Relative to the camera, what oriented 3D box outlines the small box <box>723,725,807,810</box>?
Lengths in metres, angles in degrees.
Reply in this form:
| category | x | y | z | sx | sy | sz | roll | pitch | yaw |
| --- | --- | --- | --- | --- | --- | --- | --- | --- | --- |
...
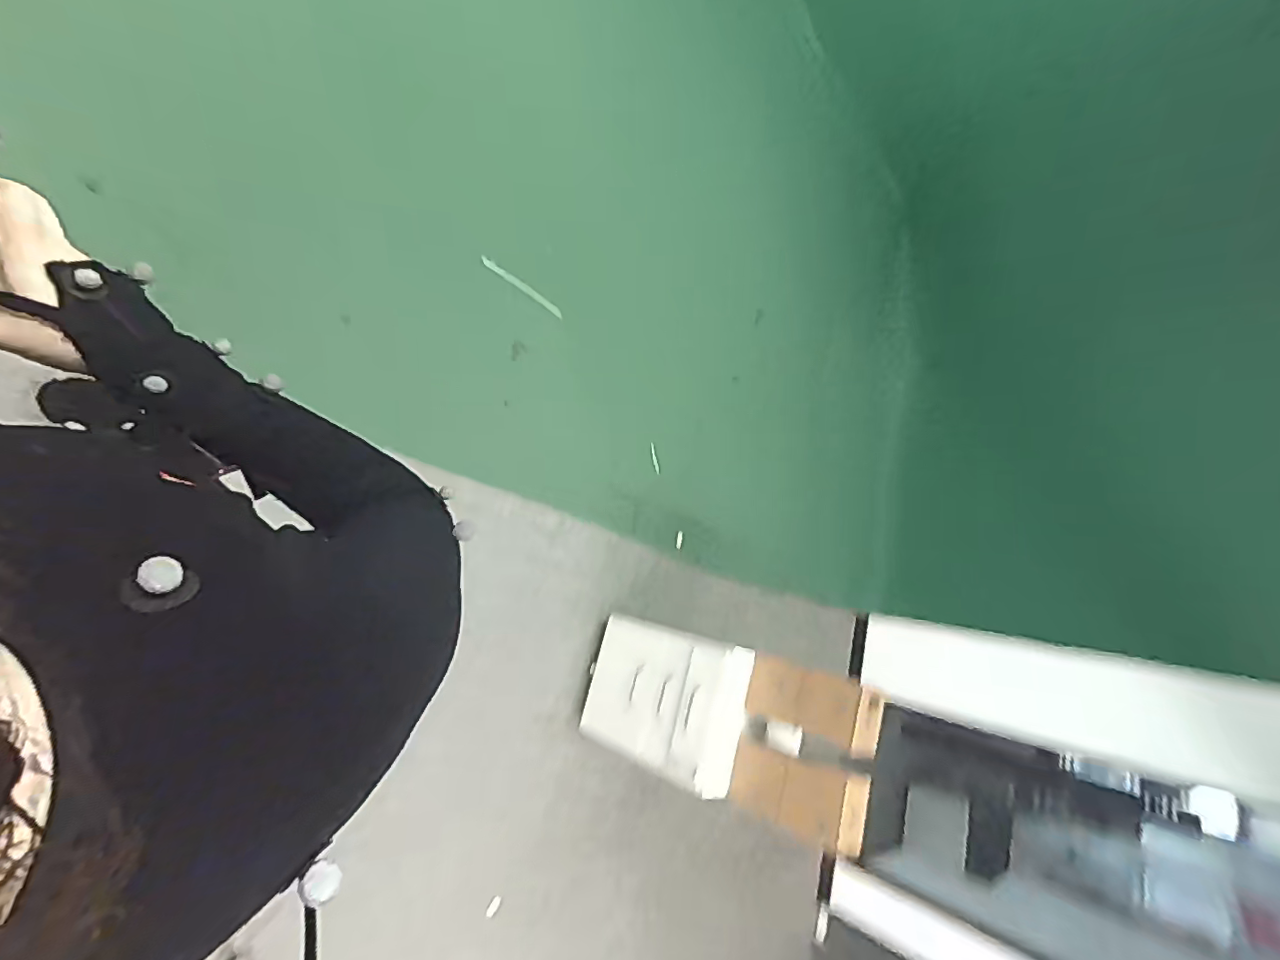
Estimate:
| category | x | y | z | sx | sy | sz | roll | pitch | yaw |
| --- | --- | --- | --- | --- | --- | --- | --- | --- | --- |
| small box | 0.367 | 0.844 | 1.597 | 0.168 | 0.176 | 0.179 | 28 | 70 | -43 |

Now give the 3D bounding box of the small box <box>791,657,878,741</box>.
| category | x | y | z | sx | sy | sz | roll | pitch | yaw |
| --- | --- | --- | --- | --- | --- | --- | --- | --- | --- |
| small box | 0.549 | 0.619 | 1.537 | 0.168 | 0.176 | 0.179 | 28 | 74 | -42 |

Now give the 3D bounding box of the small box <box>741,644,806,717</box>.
| category | x | y | z | sx | sy | sz | roll | pitch | yaw |
| --- | --- | --- | --- | --- | --- | --- | --- | --- | --- |
| small box | 0.431 | 0.613 | 1.651 | 0.168 | 0.176 | 0.179 | 29 | 72 | -41 |
